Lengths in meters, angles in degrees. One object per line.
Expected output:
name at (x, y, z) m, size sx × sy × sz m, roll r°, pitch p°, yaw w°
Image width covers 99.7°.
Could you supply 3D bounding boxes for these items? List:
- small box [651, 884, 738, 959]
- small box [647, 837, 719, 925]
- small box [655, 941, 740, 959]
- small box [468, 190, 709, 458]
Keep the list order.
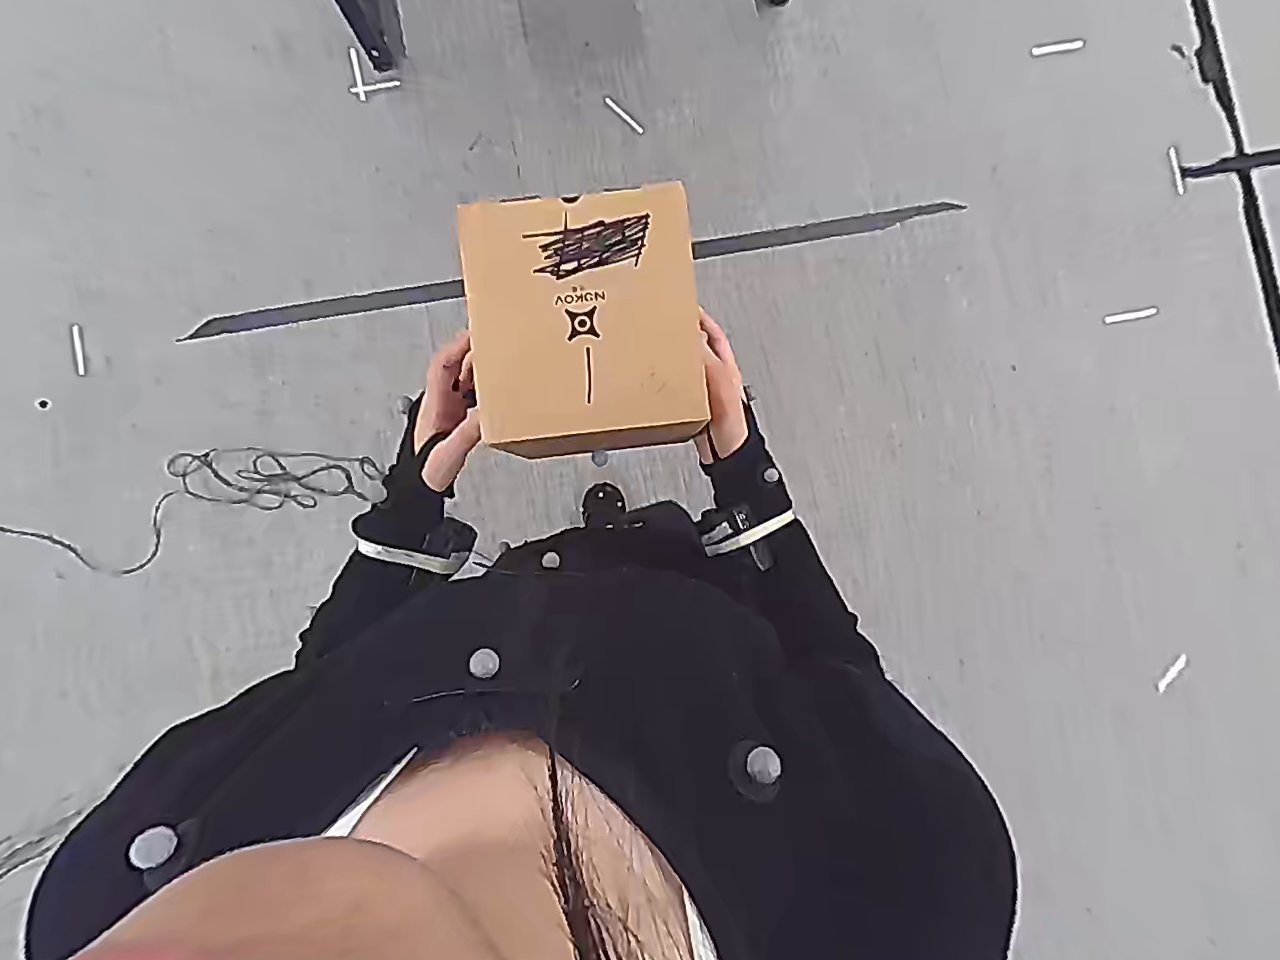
small box at (0.120, 1.061, 1.230) m, size 0.179 × 0.176 × 0.168 m, roll -3°, pitch 87°, yaw -2°
small box at (0.112, 1.060, 1.395) m, size 0.179 × 0.176 × 0.168 m, roll -6°, pitch 88°, yaw -2°
small box at (0.128, 1.062, 1.069) m, size 0.179 × 0.176 × 0.168 m, roll -6°, pitch 87°, yaw -2°
small box at (-0.040, -0.118, 0.472) m, size 0.168 × 0.176 × 0.179 m, roll -6°, pitch 88°, yaw -1°
